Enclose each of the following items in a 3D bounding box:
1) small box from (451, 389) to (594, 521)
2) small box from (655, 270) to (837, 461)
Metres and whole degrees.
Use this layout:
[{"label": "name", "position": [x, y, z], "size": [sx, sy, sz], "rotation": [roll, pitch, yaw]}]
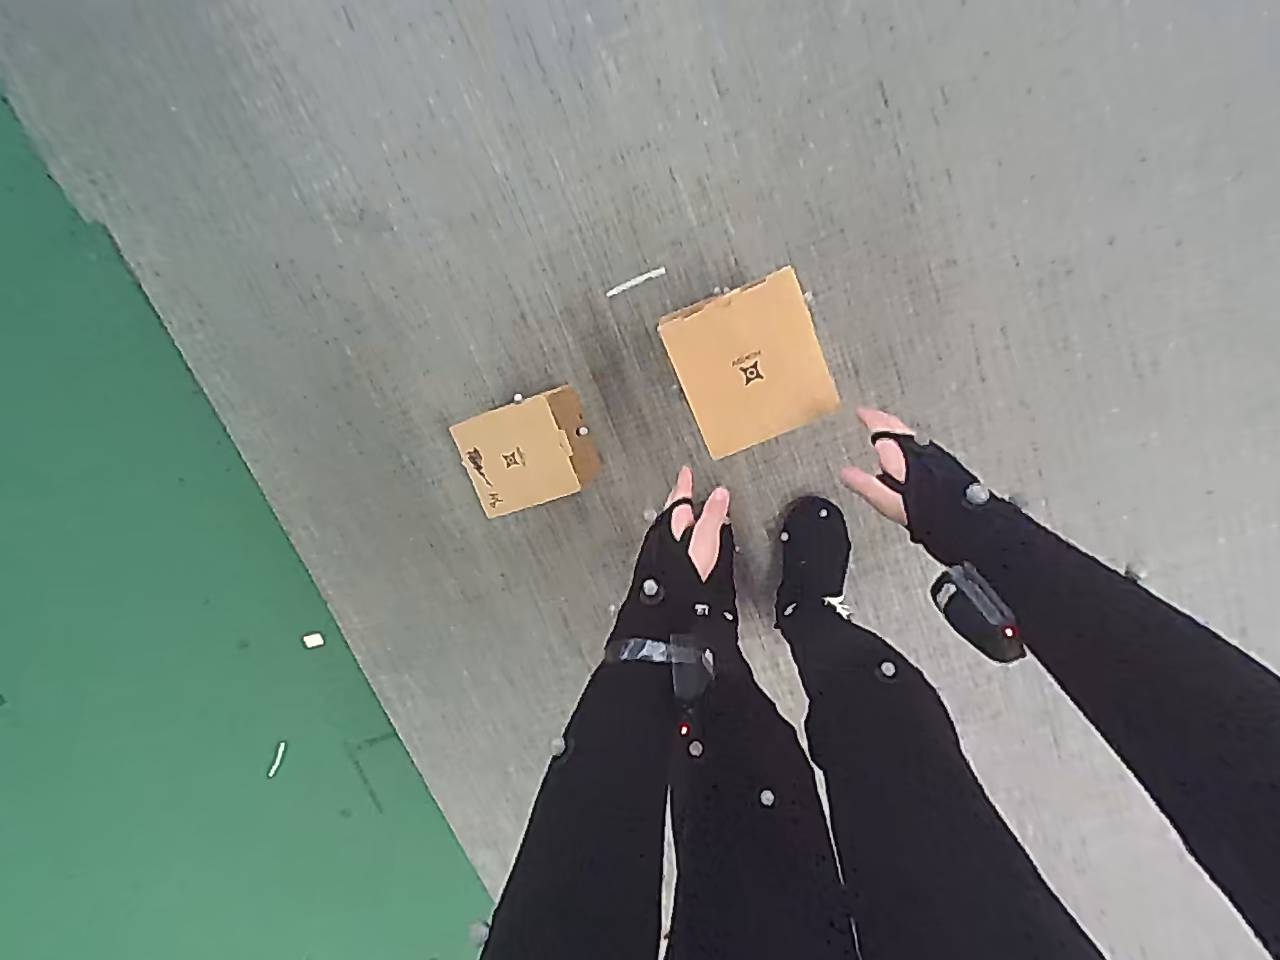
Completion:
[{"label": "small box", "position": [-0.189, -0.051, 0.941], "size": [0.179, 0.176, 0.168], "rotation": [-18, 102, 10]}, {"label": "small box", "position": [0.134, -0.150, 0.704], "size": [0.168, 0.176, 0.179], "rotation": [-23, 102, 12]}]
